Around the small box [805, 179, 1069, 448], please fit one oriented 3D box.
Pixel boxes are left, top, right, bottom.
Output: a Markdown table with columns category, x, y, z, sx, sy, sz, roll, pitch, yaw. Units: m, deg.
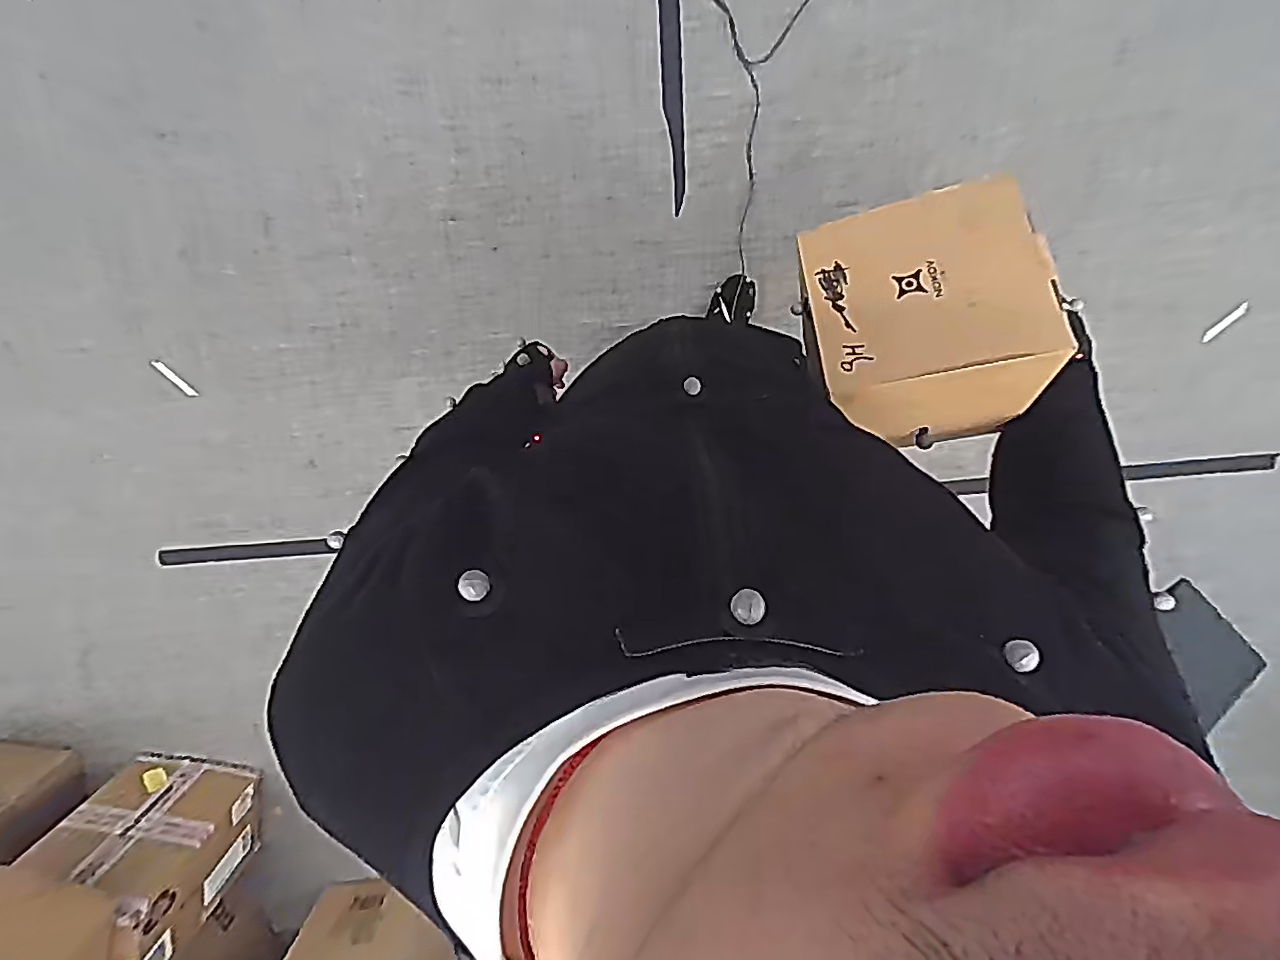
| category | x | y | z | sx | sy | sz | roll | pitch | yaw |
| --- | --- | --- | --- | --- | --- | --- | --- | --- | --- |
| small box | 0.260 | -0.143 | 0.525 | 0.179 | 0.176 | 0.168 | -8 | 70 | 16 |
